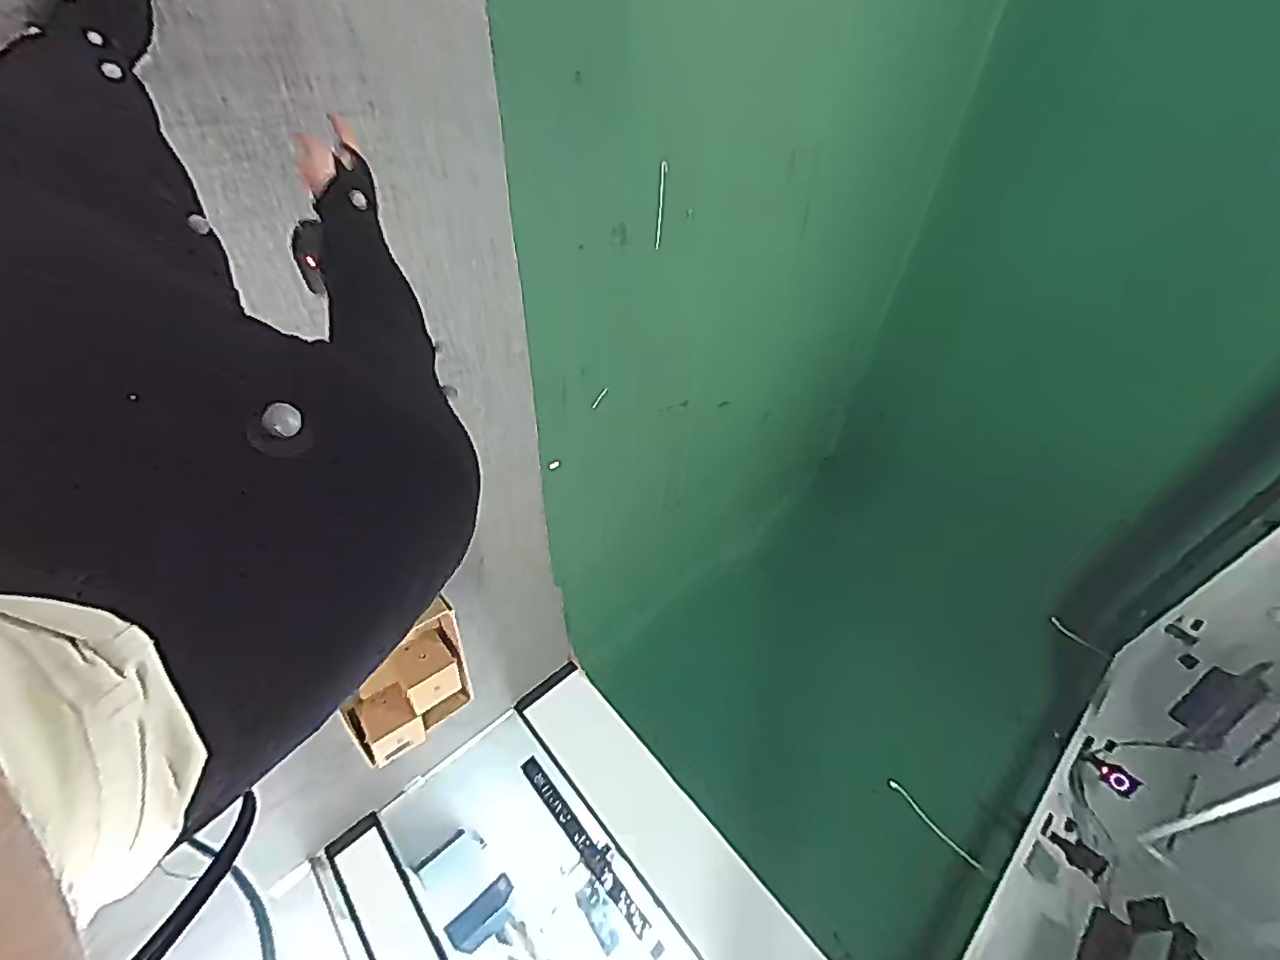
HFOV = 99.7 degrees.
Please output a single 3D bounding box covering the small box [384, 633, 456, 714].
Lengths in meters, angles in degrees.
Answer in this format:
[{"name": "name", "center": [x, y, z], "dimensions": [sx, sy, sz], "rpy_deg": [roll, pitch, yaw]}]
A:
[{"name": "small box", "center": [-0.755, 0.653, 1.856], "dimensions": [0.168, 0.176, 0.179], "rpy_deg": [-26, 141, -33]}]
